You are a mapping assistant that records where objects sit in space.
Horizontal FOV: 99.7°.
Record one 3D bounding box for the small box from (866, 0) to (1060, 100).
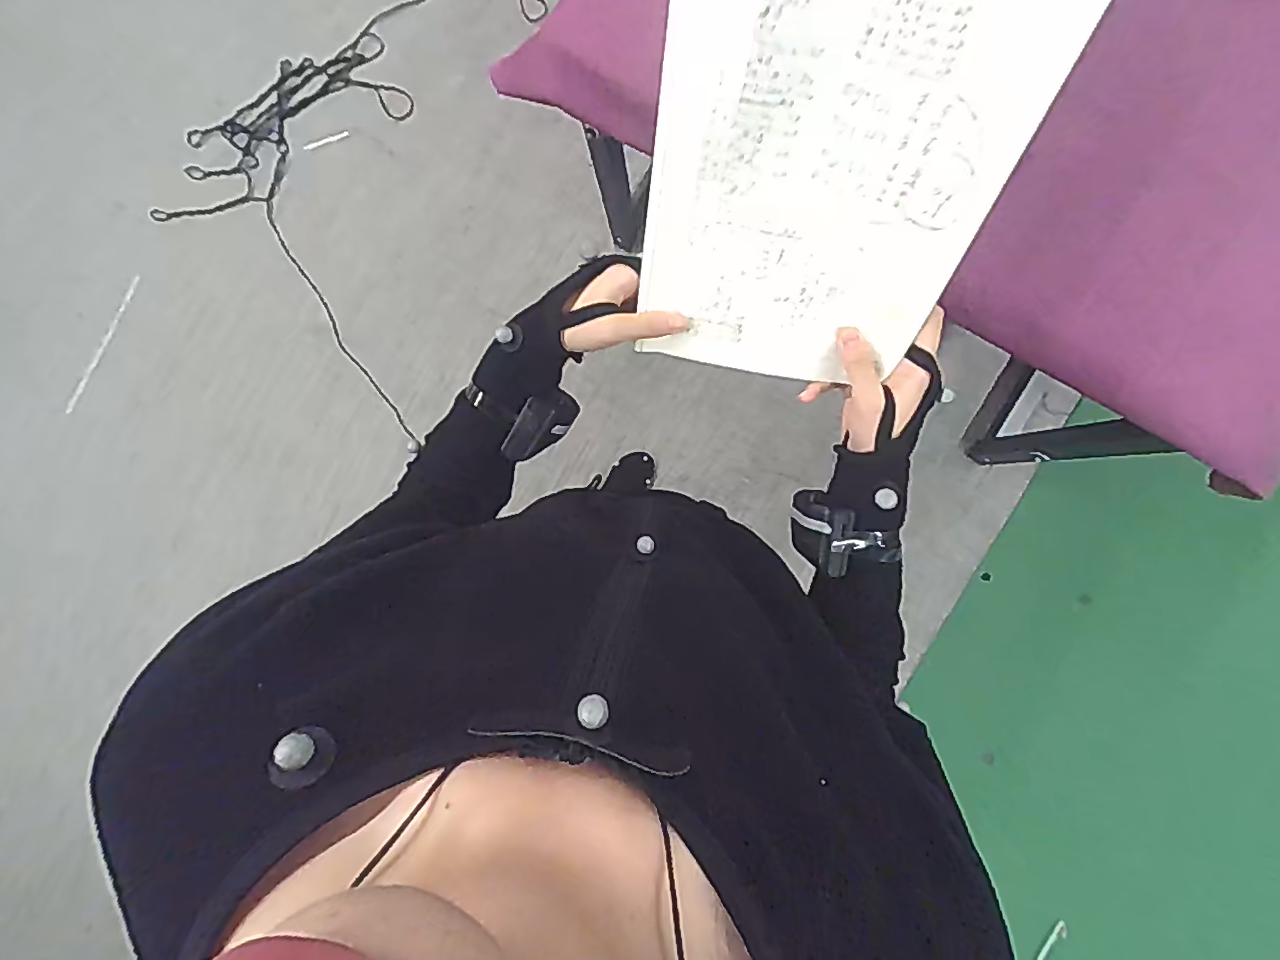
[{"bbox_3d":[0.351,-0.532,0.531,0.168,0.176,0.179,32,90,4],"label":"small box"}]
